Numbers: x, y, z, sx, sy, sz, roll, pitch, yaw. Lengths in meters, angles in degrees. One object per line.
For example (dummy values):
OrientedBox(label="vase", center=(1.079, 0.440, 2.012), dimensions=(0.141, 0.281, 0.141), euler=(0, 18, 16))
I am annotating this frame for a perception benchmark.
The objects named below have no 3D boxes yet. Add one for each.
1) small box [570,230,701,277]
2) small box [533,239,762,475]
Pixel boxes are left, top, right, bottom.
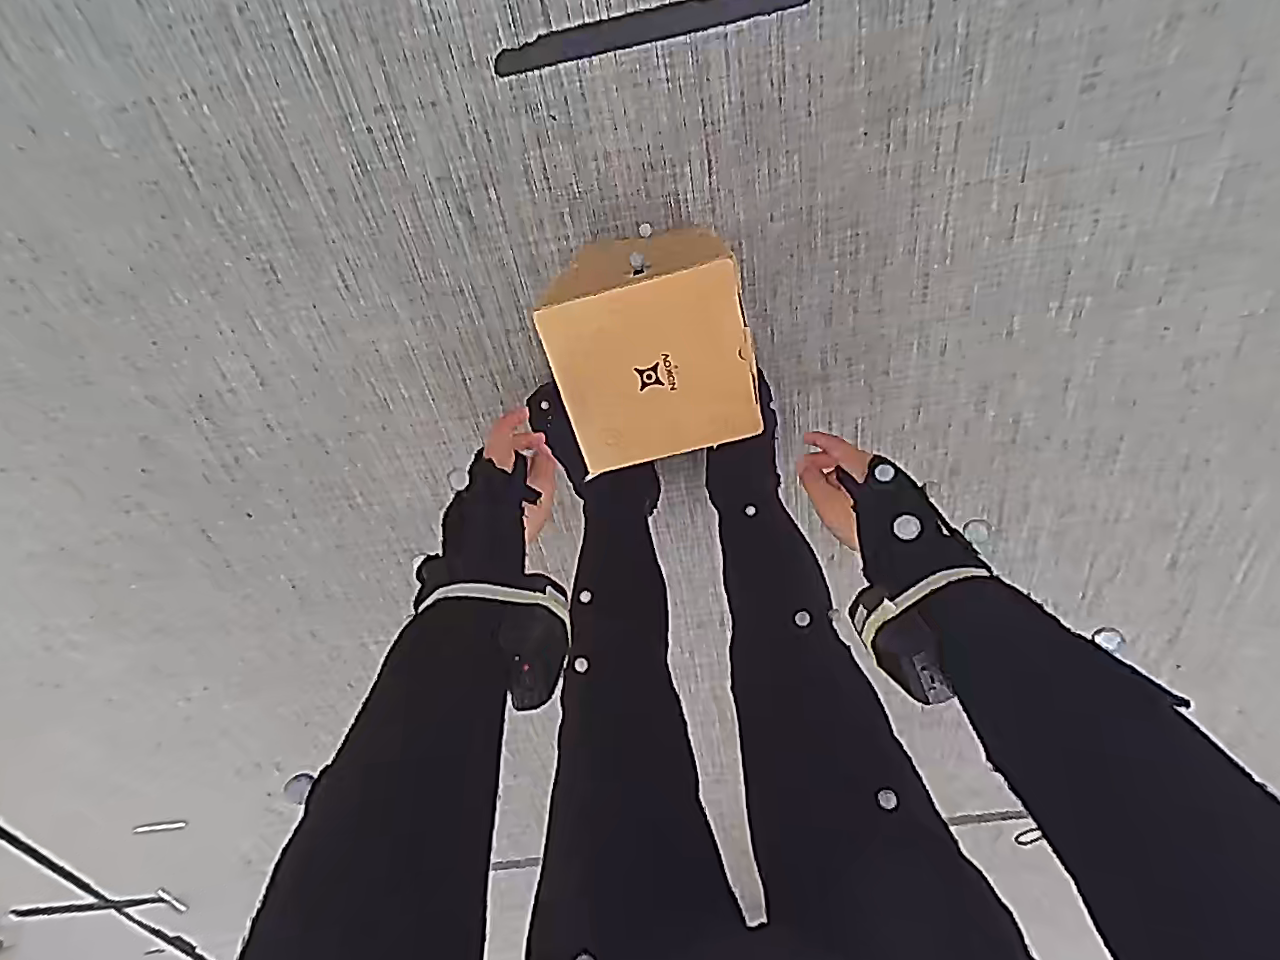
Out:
OrientedBox(label="small box", center=(0.014, -0.208, 0.694), dimensions=(0.168, 0.176, 0.179), euler=(-7, 120, 3))
OrientedBox(label="small box", center=(0.012, -0.131, 0.550), dimensions=(0.179, 0.176, 0.168), euler=(-14, 120, 6))
